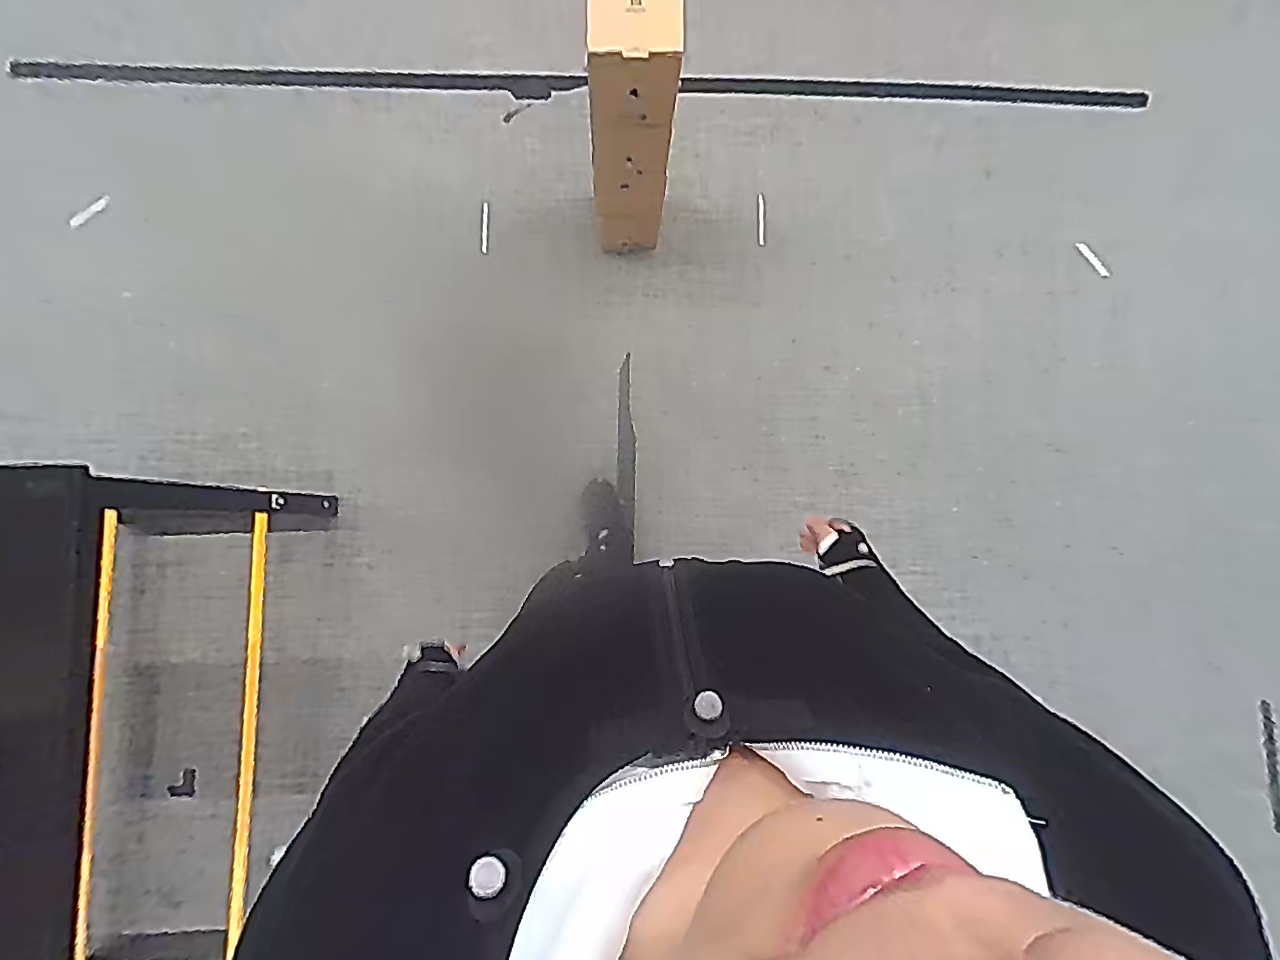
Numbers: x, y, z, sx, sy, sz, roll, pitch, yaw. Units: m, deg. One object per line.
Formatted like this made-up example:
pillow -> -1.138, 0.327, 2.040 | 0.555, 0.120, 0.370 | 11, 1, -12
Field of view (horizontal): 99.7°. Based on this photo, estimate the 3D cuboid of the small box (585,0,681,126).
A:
small box -> -0.013, -0.787, 0.995 | 0.168, 0.176, 0.179 | 0, 86, -2

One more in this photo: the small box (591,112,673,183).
small box -> -0.016, -0.776, 1.158 | 0.168, 0.176, 0.179 | 2, 86, -2

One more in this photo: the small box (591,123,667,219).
small box -> -0.027, -0.761, 1.322 | 0.179, 0.176, 0.168 | -1, 86, -3

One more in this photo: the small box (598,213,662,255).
small box -> -0.034, -0.747, 1.486 | 0.168, 0.176, 0.179 | -5, 87, -2
